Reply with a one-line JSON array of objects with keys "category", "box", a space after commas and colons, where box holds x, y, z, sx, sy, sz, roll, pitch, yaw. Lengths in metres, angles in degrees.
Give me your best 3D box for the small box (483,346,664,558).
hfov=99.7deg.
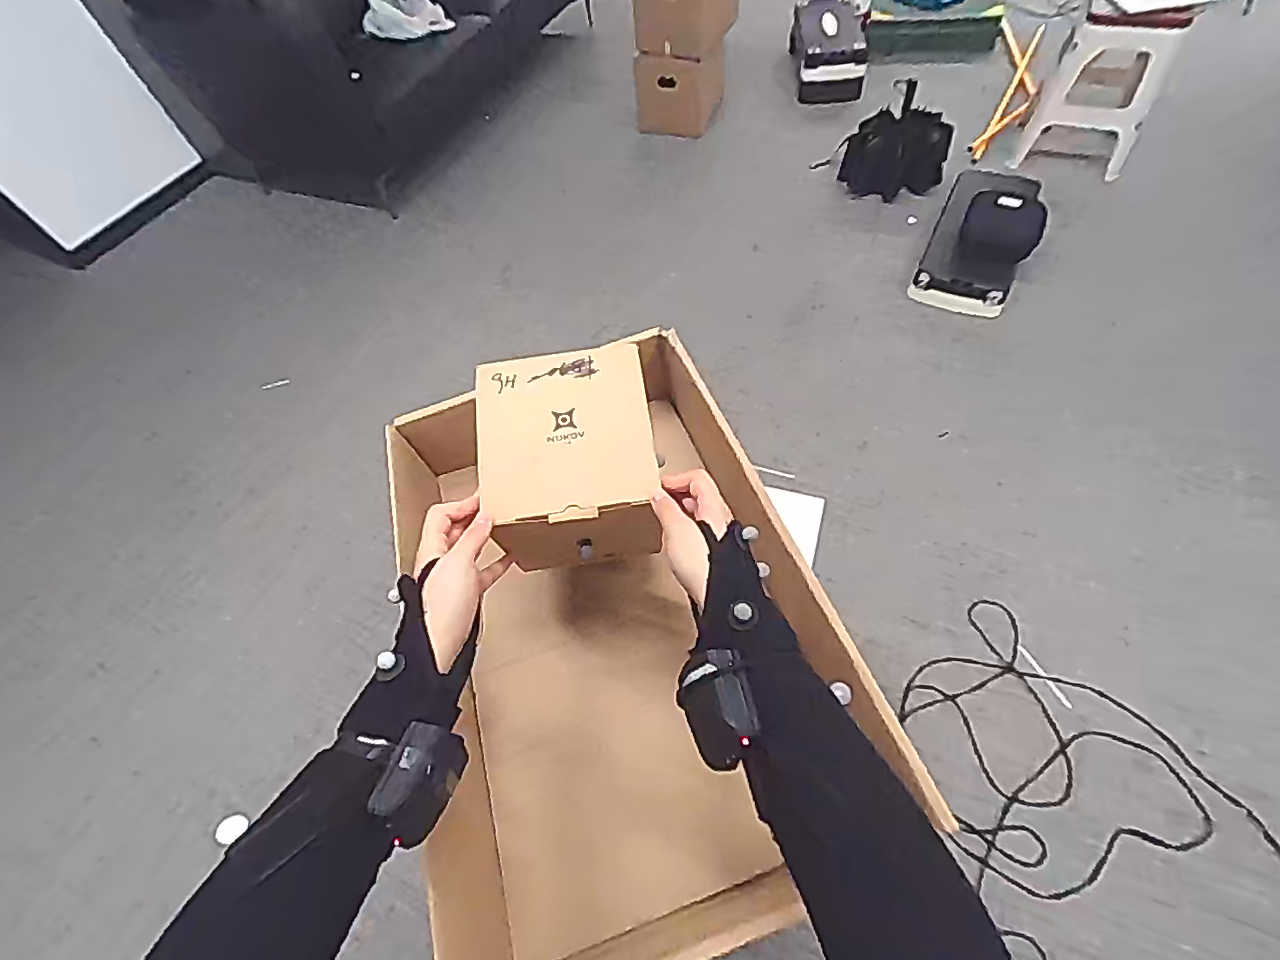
[{"category": "small box", "box": [-0.066, -0.019, 0.601, 0.168, 0.176, 0.179, -9, 67, -1]}]
